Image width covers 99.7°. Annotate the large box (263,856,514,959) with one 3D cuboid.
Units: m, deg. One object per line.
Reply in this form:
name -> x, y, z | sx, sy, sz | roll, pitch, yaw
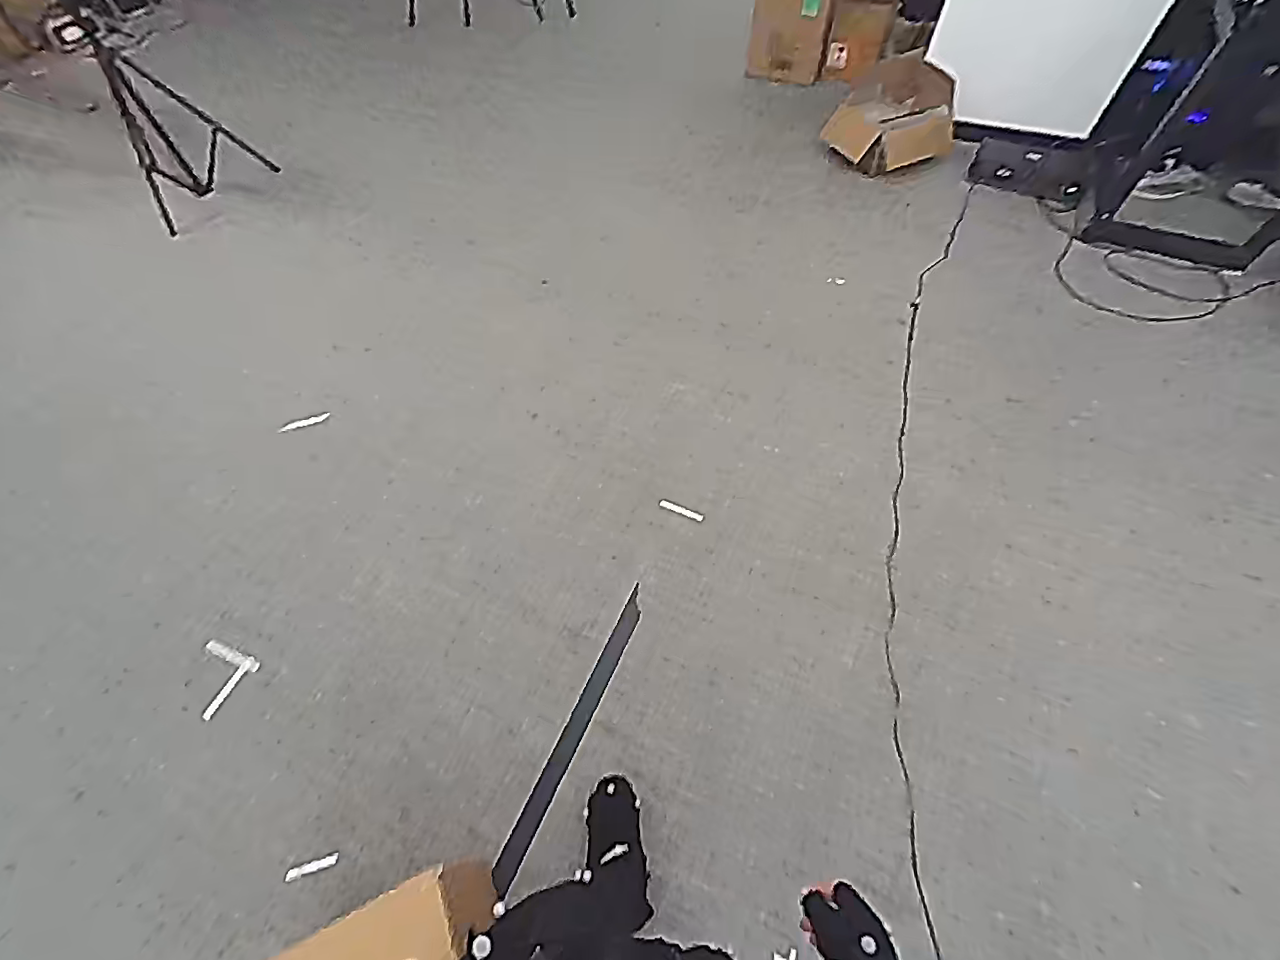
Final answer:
large box -> -0.456, 0.941, 0.955 | 0.408, 0.320, 0.320 | -24, 61, -14
